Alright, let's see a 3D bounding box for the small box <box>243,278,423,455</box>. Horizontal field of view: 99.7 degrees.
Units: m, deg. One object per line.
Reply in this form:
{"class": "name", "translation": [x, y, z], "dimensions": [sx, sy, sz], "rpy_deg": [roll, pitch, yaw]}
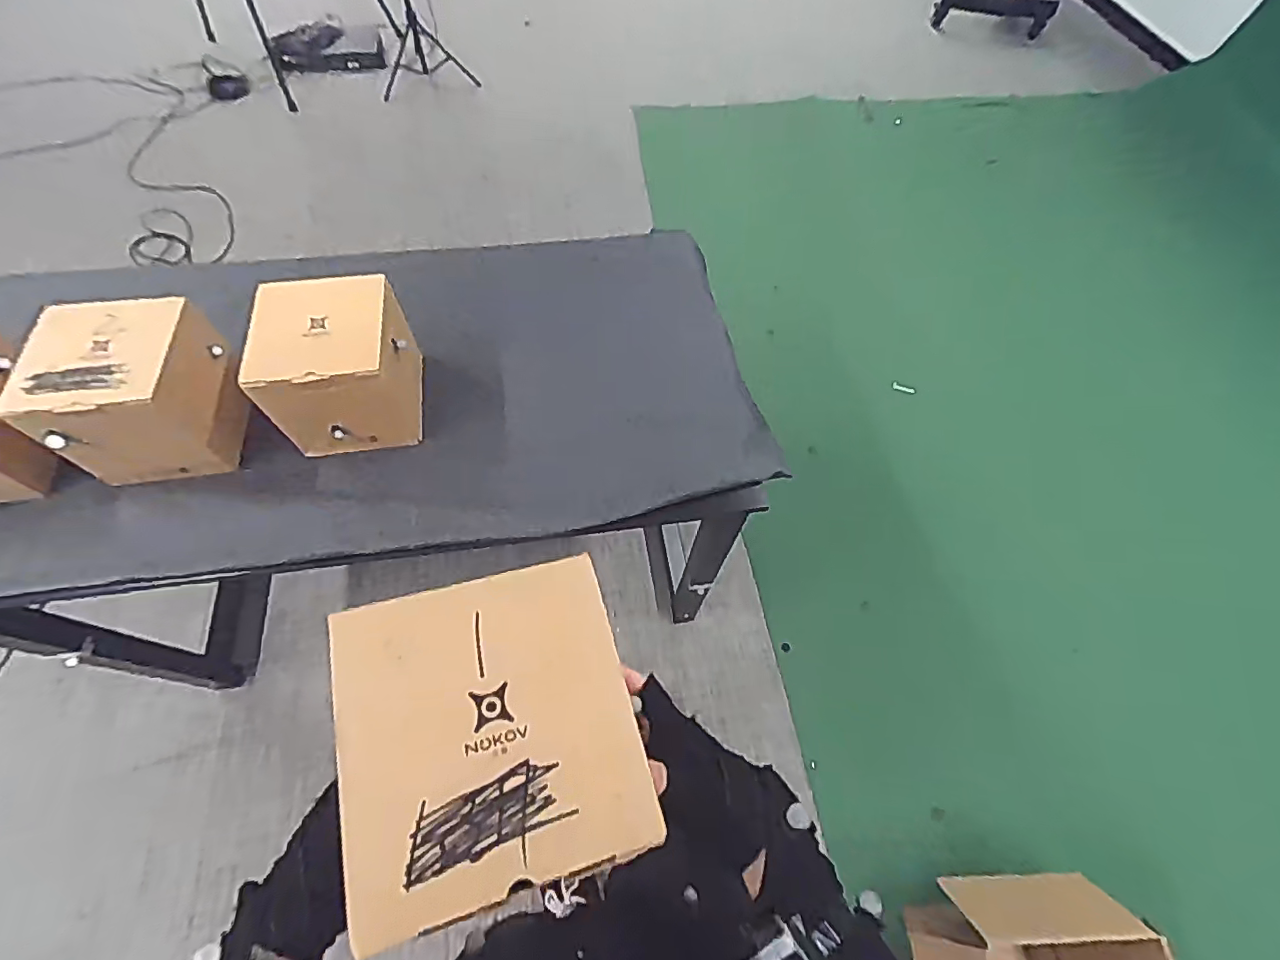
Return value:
{"class": "small box", "translation": [-0.417, -0.157, 0.768], "dimensions": [0.168, 0.176, 0.179], "rpy_deg": [-8, 63, -8]}

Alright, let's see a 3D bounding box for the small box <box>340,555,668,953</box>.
{"class": "small box", "translation": [-0.095, 0.176, 0.386], "dimensions": [0.168, 0.176, 0.179], "rpy_deg": [-11, 66, -17]}

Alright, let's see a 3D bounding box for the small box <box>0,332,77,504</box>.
{"class": "small box", "translation": [-0.892, -0.080, 0.689], "dimensions": [0.168, 0.176, 0.179], "rpy_deg": [-8, 61, -9]}
